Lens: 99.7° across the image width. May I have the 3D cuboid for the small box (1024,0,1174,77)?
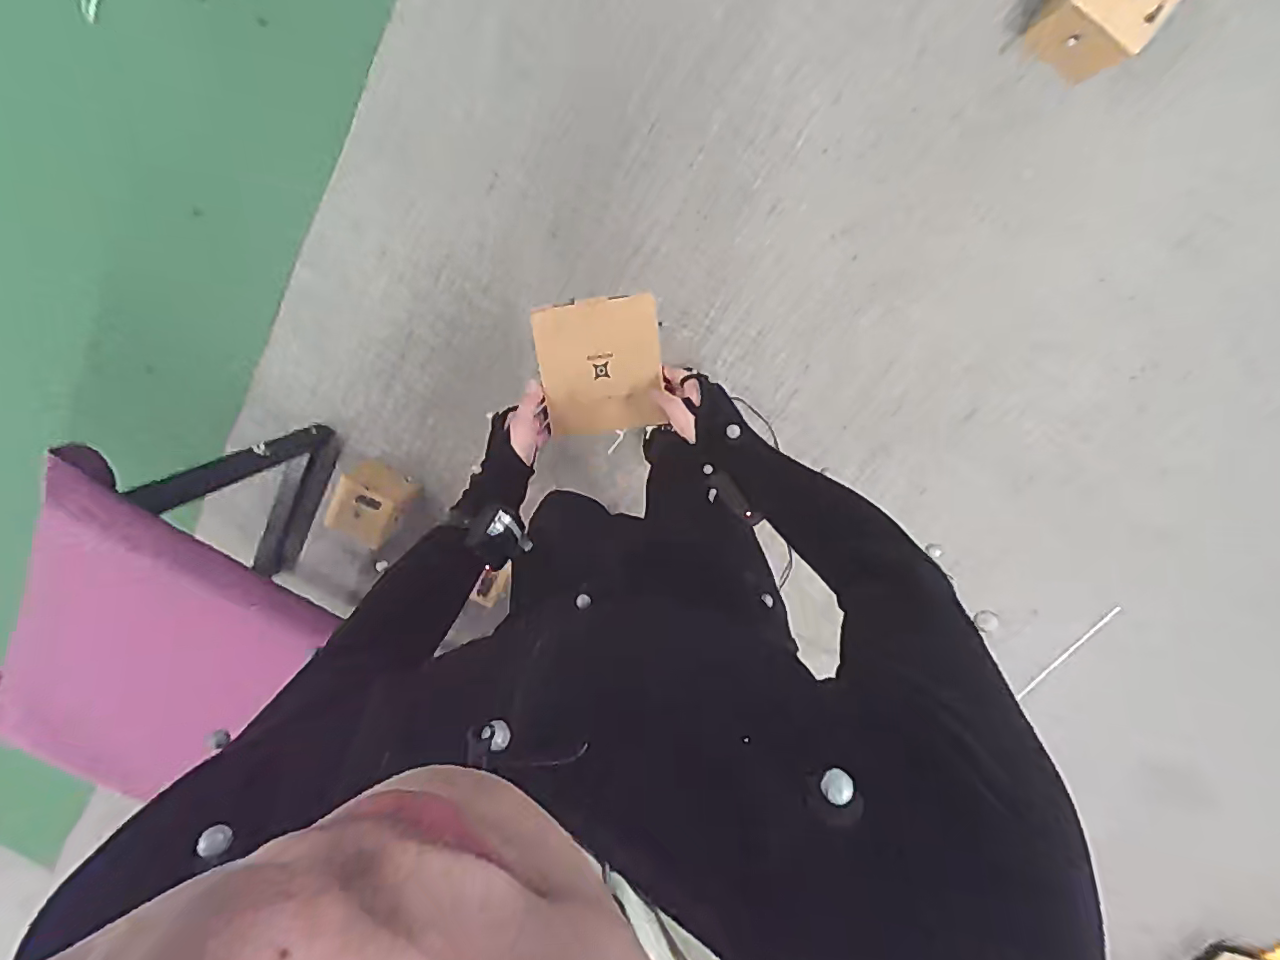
[{"bbox_3d":[0.945,-0.974,1.101,0.179,0.176,0.168,32,108,-6],"label":"small box"}]

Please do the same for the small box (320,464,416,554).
[{"bbox_3d":[-0.784,0.076,1.576,0.168,0.176,0.179,29,109,-5],"label":"small box"}]

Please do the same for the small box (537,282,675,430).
[{"bbox_3d":[-0.040,-0.179,0.772,0.168,0.176,0.179,-5,108,4],"label":"small box"}]
